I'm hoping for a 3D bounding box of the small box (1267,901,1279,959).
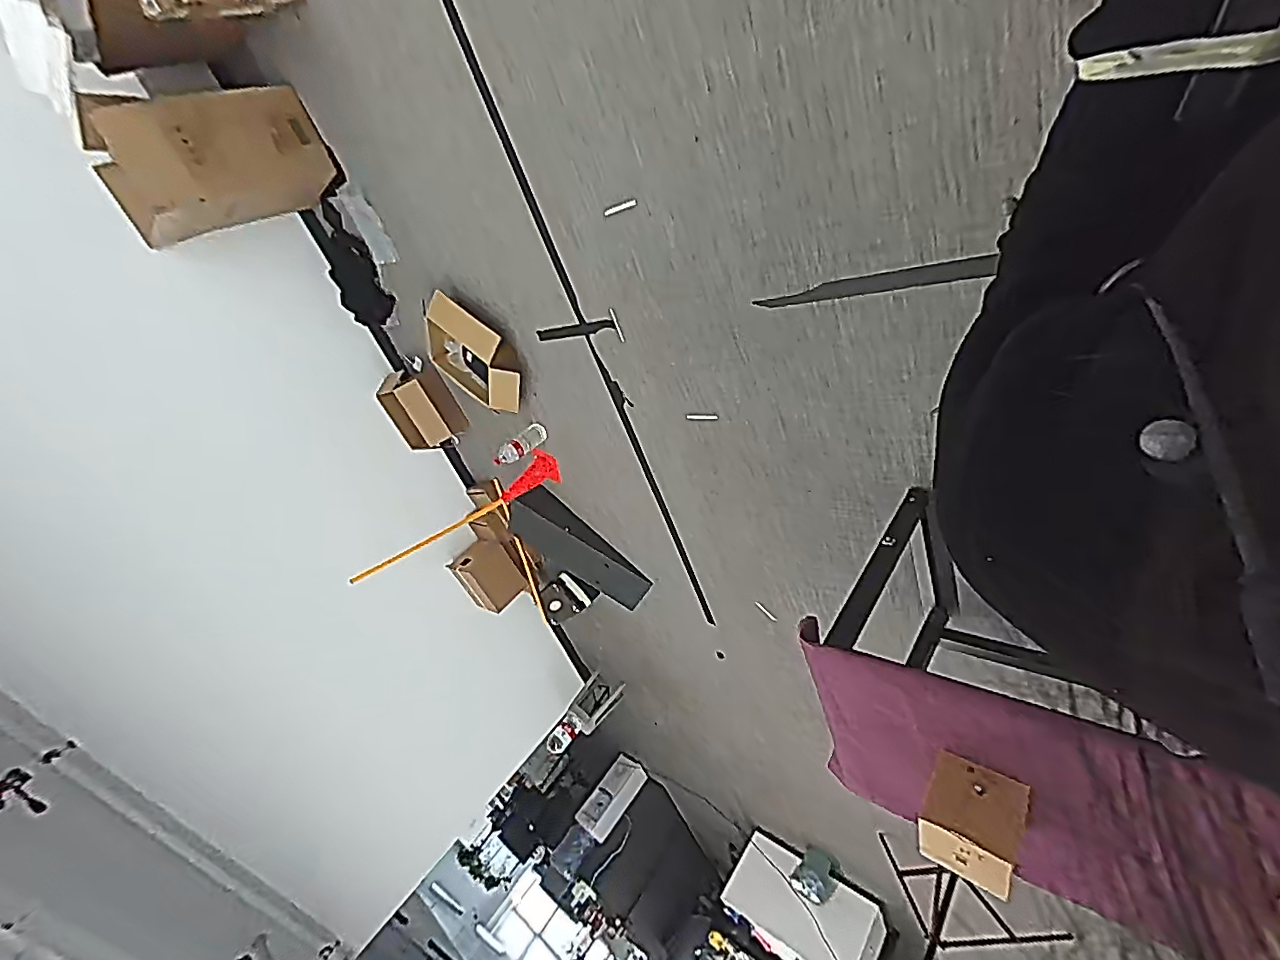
[{"bbox_3d":[1.058,0.751,0.790,0.168,0.176,0.179,8,131,44],"label":"small box"}]

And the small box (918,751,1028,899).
[{"bbox_3d":[0.704,0.722,1.146,0.168,0.176,0.179,12,133,40],"label":"small box"}]
